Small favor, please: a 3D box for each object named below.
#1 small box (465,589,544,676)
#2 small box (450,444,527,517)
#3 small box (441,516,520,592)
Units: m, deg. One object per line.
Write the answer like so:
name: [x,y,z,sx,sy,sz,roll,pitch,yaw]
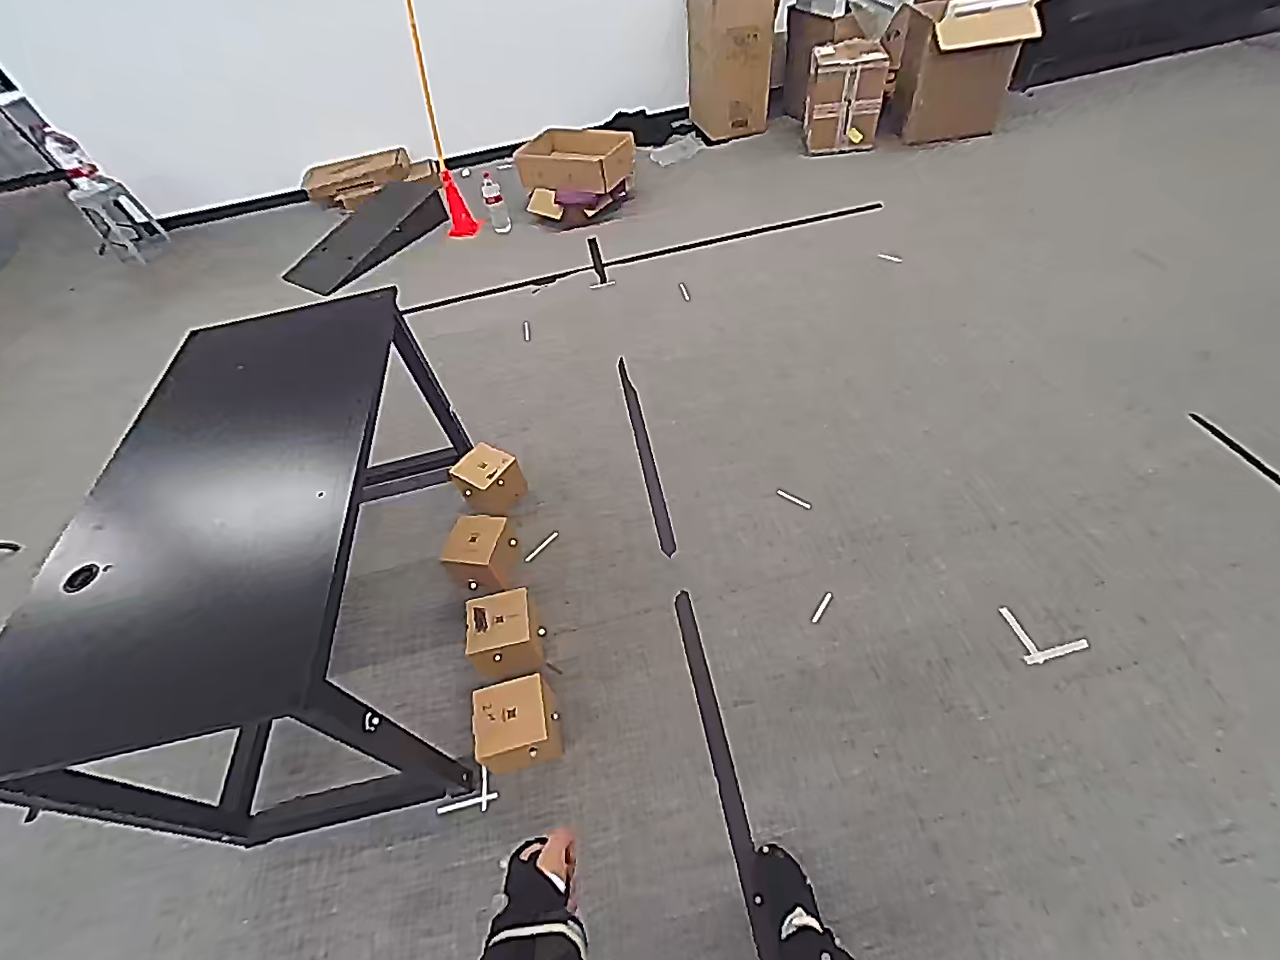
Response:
small box: [-0.384,0.441,1.545,0.179,0.176,0.168,-13,50,-3]
small box: [-0.536,0.007,1.928,0.179,0.176,0.168,23,58,25]
small box: [-0.502,0.238,1.735,0.168,0.176,0.179,3,52,13]
